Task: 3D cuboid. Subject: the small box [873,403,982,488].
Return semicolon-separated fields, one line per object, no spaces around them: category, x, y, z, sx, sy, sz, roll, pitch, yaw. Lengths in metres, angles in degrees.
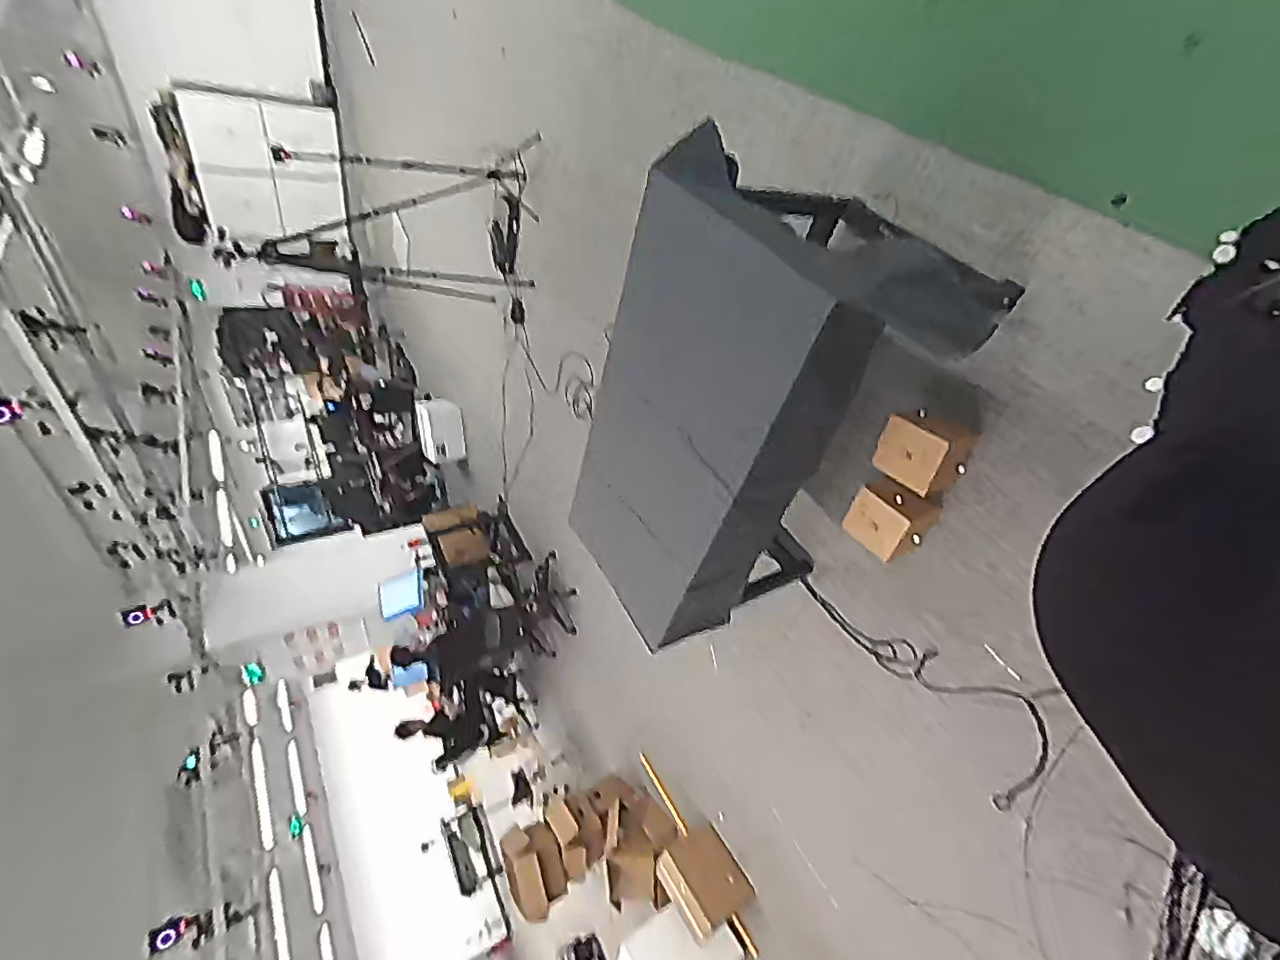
small box;0.794;-0.103;1.497;0.179;0.176;0.168;44;137;42
